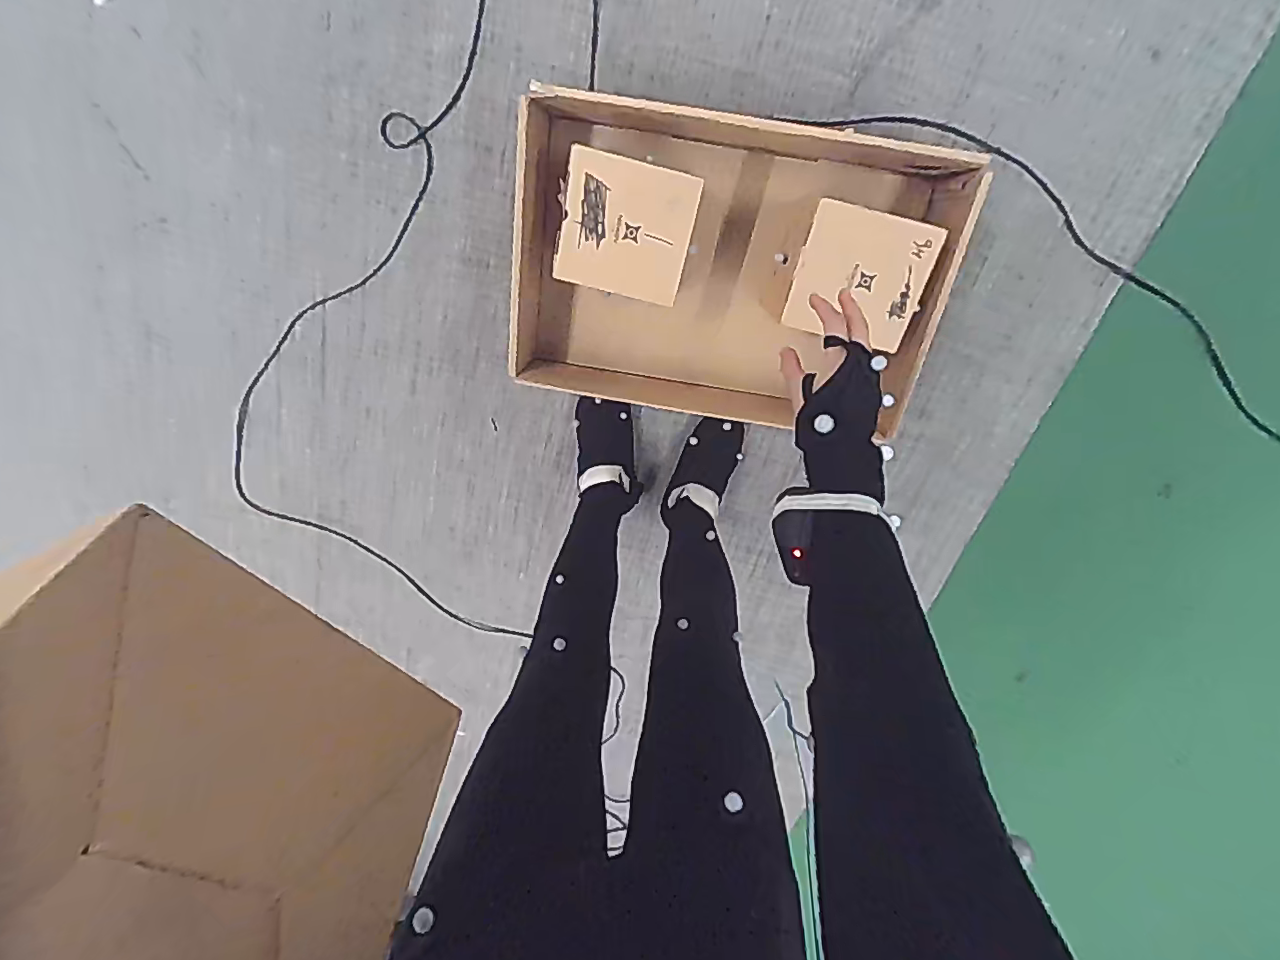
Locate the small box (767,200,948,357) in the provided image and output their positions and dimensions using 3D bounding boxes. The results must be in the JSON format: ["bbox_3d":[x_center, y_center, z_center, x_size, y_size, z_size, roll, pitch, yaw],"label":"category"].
[{"bbox_3d":[0.302,-0.298,0.801,0.179,0.176,0.168,15,115,-2],"label":"small box"}]
